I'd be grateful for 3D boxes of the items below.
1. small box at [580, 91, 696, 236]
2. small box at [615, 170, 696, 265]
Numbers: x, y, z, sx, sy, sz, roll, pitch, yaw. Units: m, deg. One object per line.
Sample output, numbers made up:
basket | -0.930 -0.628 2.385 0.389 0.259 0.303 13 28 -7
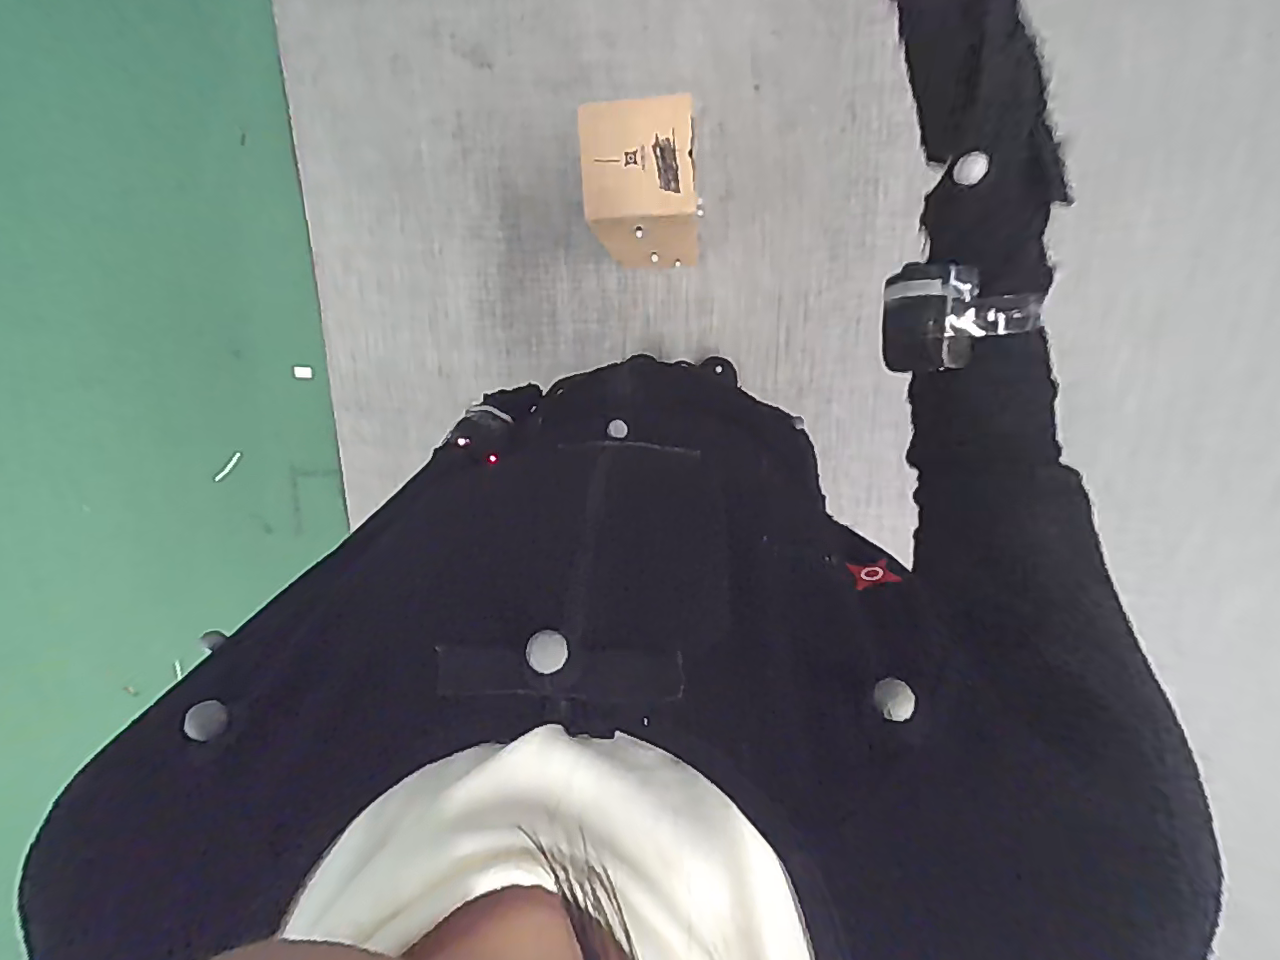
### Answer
small box | 0.001 -0.515 0.899 0.179 0.176 0.168 1 101 5
small box | 0.038 -0.590 1.220 0.179 0.176 0.168 -1 102 8
